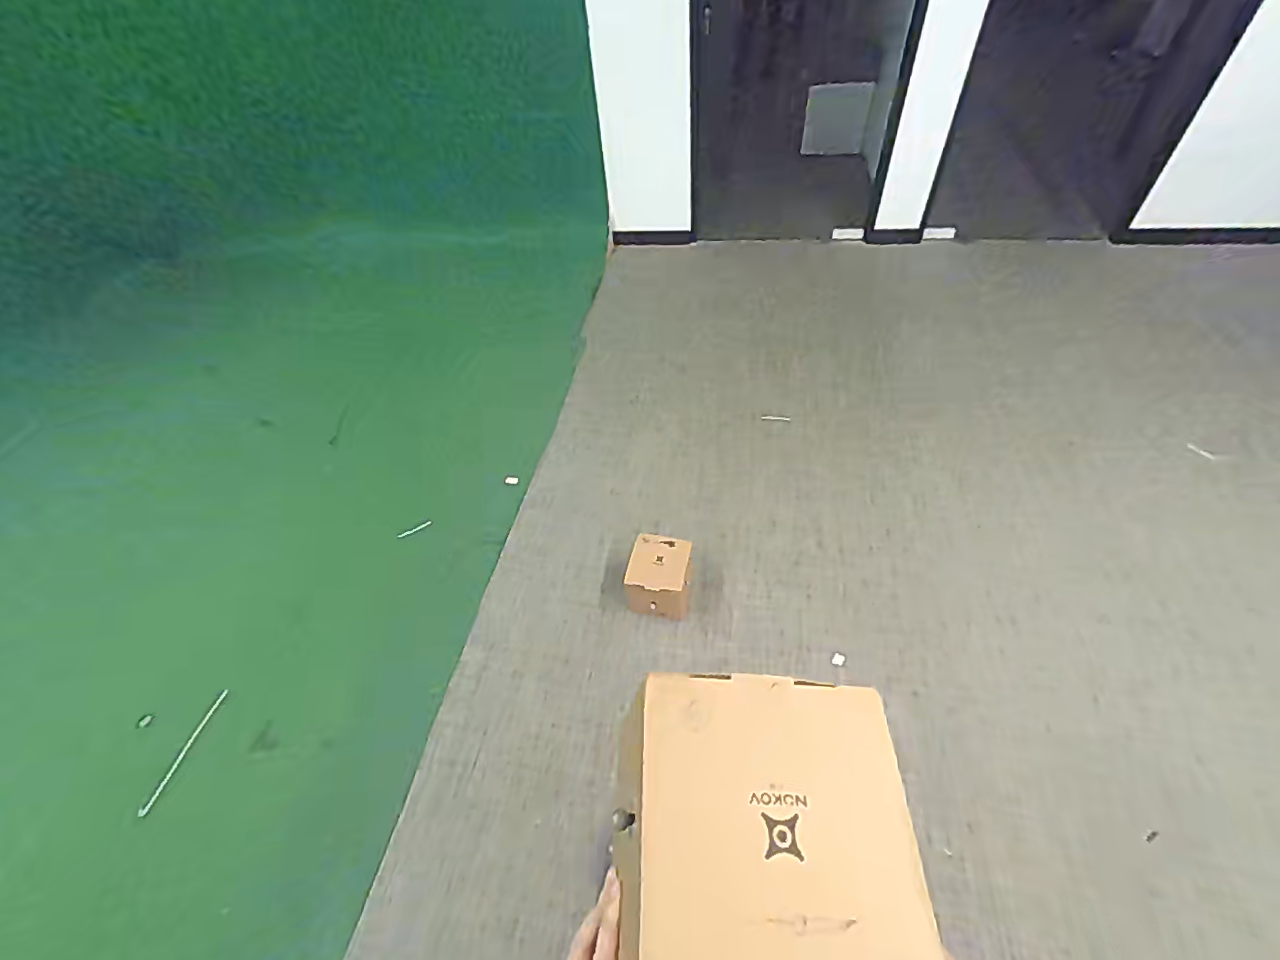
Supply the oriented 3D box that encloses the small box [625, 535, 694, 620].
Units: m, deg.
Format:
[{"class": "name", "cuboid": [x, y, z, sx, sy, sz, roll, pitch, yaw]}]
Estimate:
[{"class": "small box", "cuboid": [0.066, 0.288, 1.588, 0.168, 0.176, 0.179, 8, 51, 13]}]
